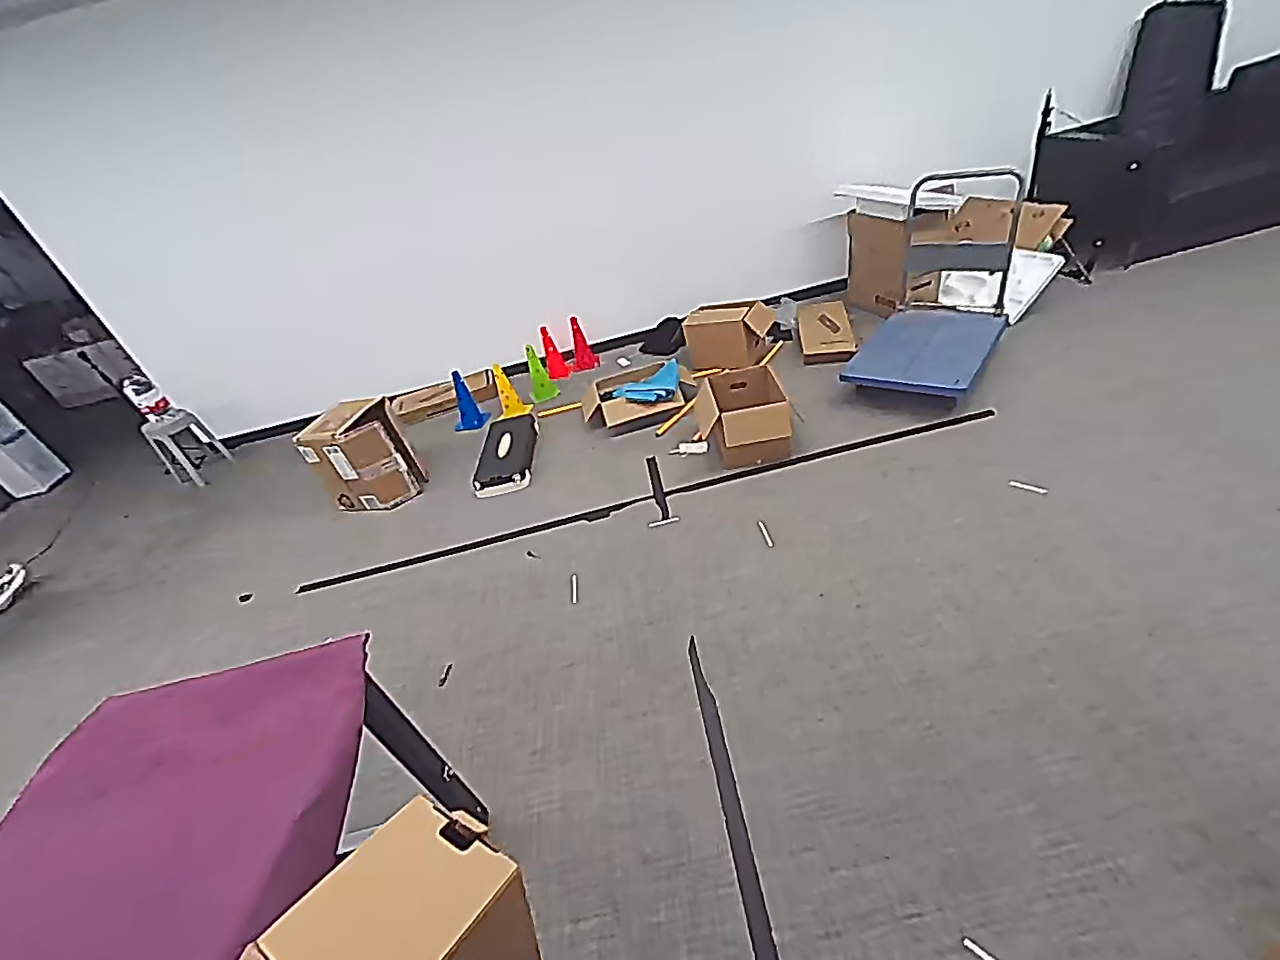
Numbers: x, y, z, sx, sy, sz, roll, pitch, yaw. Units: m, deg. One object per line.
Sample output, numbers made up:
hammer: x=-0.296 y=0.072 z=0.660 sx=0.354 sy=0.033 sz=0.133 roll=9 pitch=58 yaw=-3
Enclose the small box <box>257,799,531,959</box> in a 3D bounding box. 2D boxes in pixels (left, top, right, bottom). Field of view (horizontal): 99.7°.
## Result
small box: x=-0.225 y=0.476 z=0.533 sx=0.168 sy=0.176 sz=0.179 roll=9 pitch=24 yaw=33
